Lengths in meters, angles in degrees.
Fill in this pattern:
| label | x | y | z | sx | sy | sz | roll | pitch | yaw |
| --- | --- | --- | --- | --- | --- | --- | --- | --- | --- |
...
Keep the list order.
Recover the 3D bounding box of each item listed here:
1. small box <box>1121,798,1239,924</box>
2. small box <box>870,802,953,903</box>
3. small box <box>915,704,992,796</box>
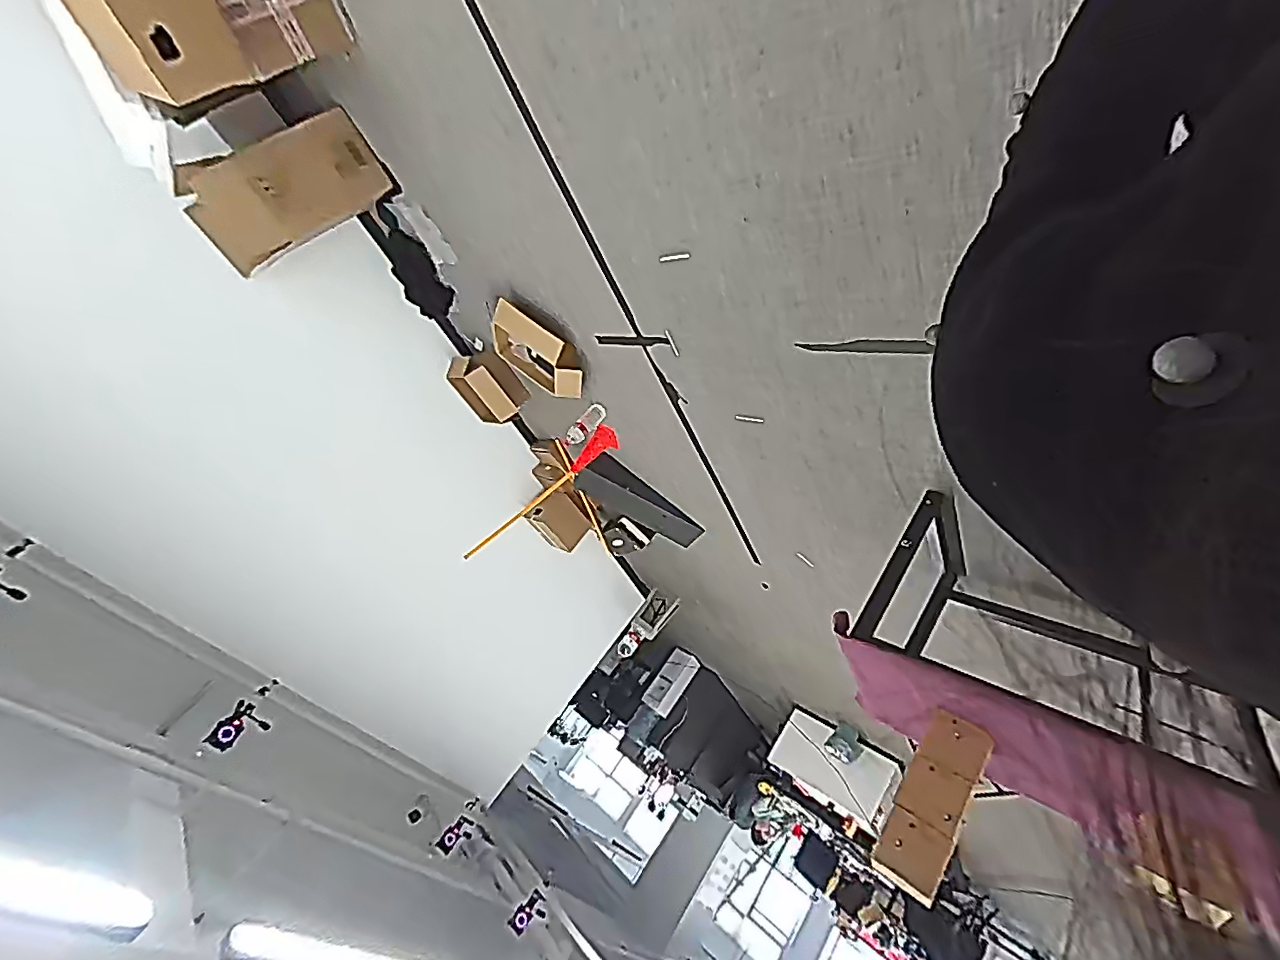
| label | x | y | z | sx | sy | sz | roll | pitch | yaw |
| --- | --- | --- | --- | --- | --- | --- | --- | --- | --- |
| small box | 1.311 | 0.922 | 1.316 | 0.168 | 0.176 | 0.179 | 17 | 147 | 44 |
| small box | 0.784 | 1.068 | 1.560 | 0.168 | 0.176 | 0.179 | 22 | 153 | 39 |
| small box | 0.978 | 0.841 | 1.691 | 0.168 | 0.176 | 0.179 | 19 | 149 | 40 |
